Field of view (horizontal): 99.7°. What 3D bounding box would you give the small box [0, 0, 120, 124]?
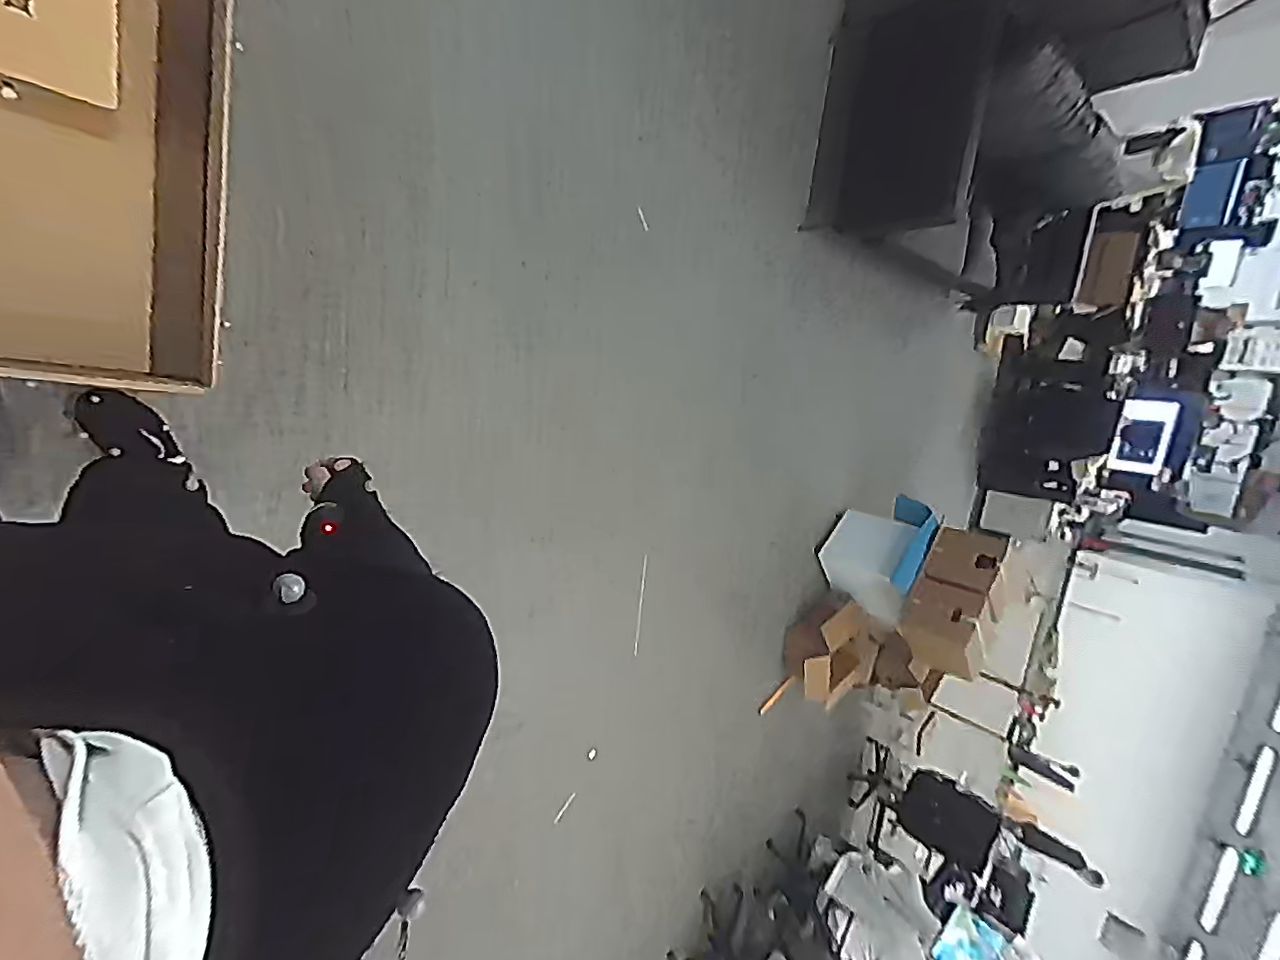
[{"bbox_3d":[-0.758,-0.568,0.660,0.179,0.176,0.168,0,103,-43],"label":"small box"}]
